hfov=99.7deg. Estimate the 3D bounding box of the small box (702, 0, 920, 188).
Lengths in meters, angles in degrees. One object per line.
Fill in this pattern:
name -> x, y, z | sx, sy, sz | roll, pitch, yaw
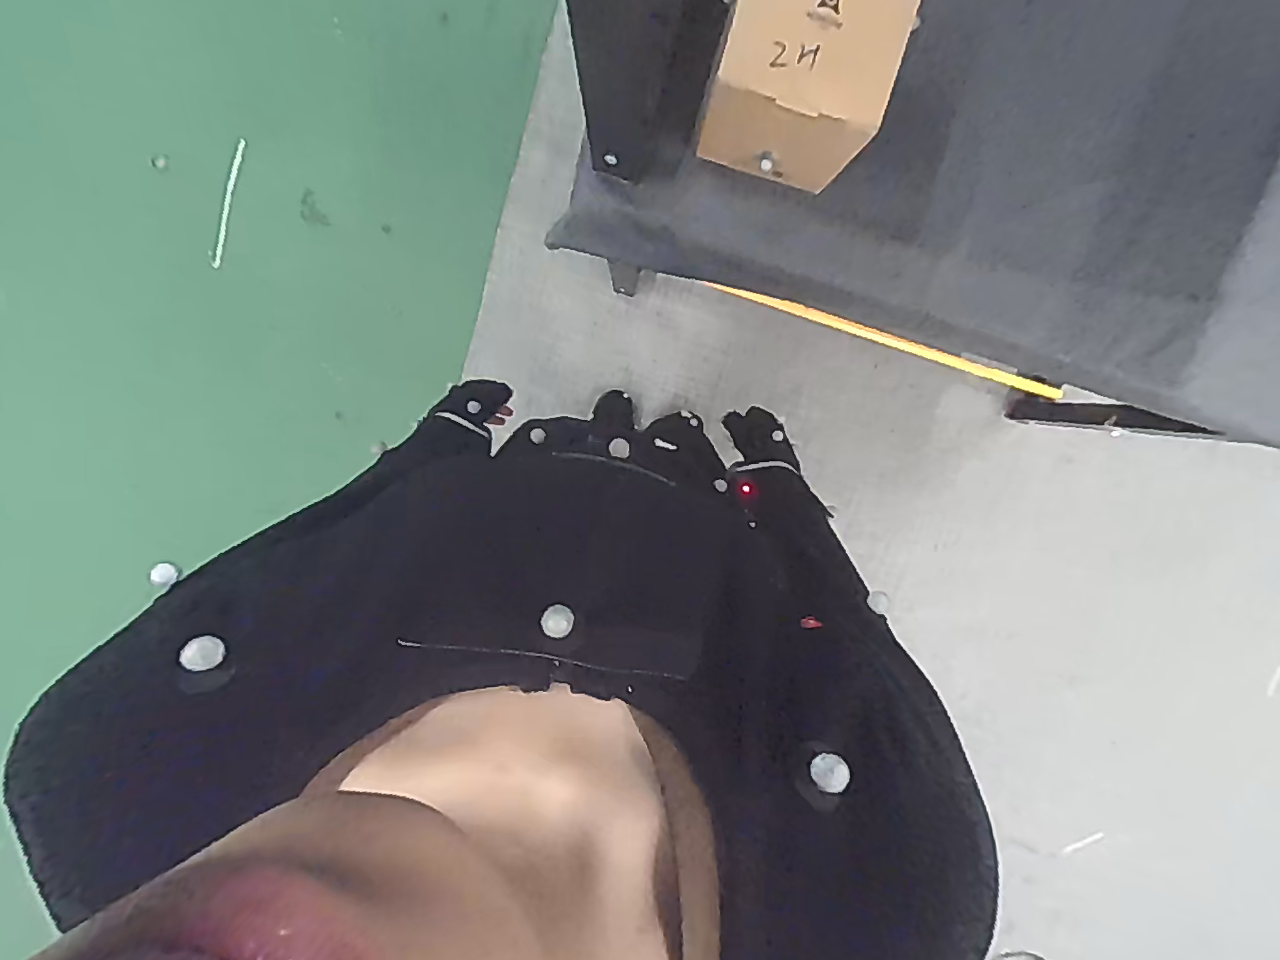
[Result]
small box -> 0.173, -0.455, 0.583 | 0.168, 0.176, 0.179 | 15, 99, -3
